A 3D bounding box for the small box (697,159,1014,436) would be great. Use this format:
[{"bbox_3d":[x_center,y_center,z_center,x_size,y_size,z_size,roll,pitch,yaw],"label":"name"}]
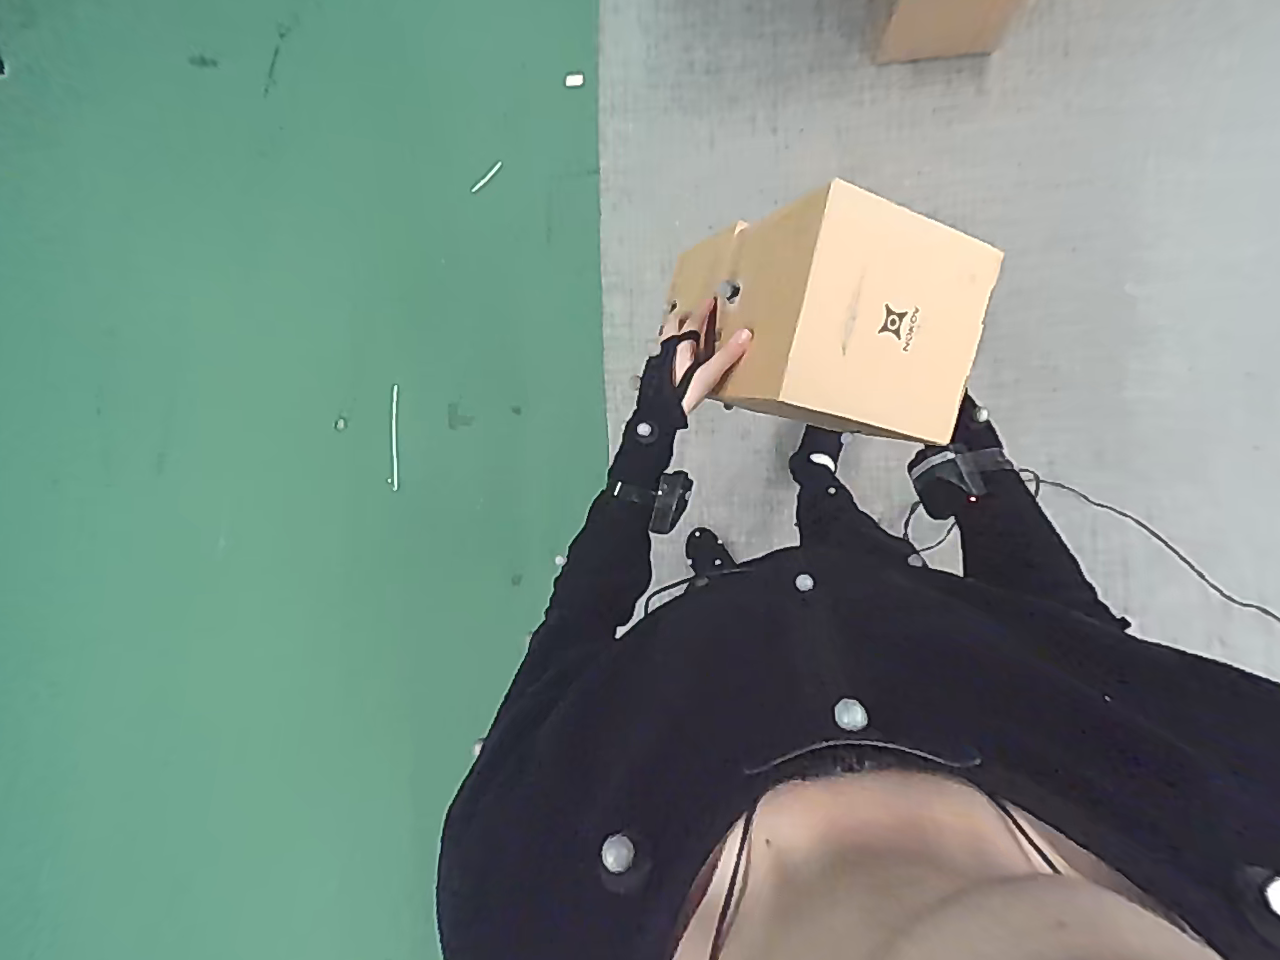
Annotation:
[{"bbox_3d":[0.177,-0.145,0.487,0.179,0.176,0.168,12,96,-18],"label":"small box"}]
